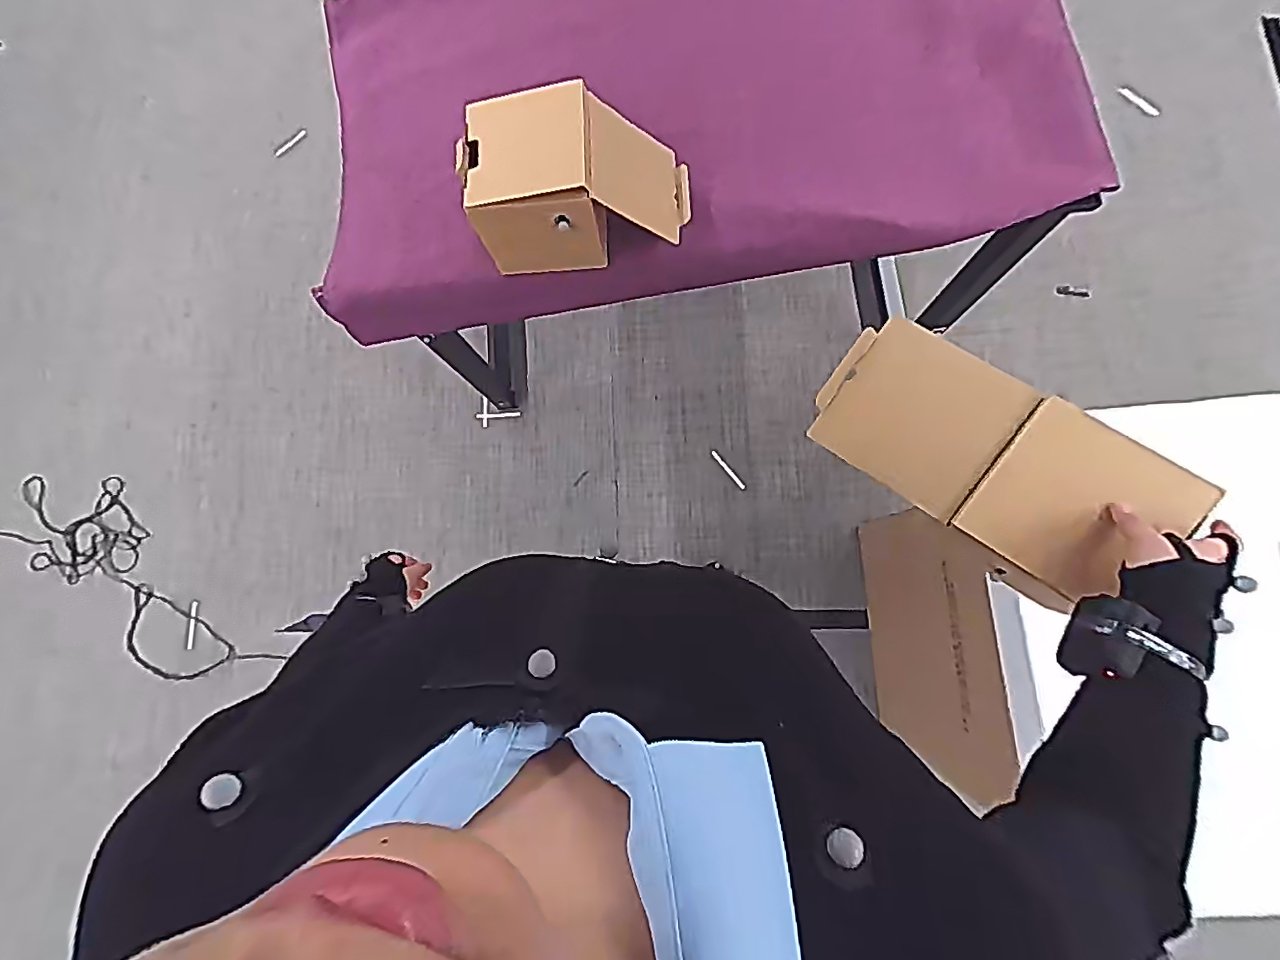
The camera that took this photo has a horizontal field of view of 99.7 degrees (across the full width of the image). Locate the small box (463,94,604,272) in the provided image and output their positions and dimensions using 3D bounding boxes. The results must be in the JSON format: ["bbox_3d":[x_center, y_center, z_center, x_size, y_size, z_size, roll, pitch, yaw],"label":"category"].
[{"bbox_3d":[-0.148,-0.436,0.816,0.179,0.176,0.168,-2,79,5],"label":"small box"}]
